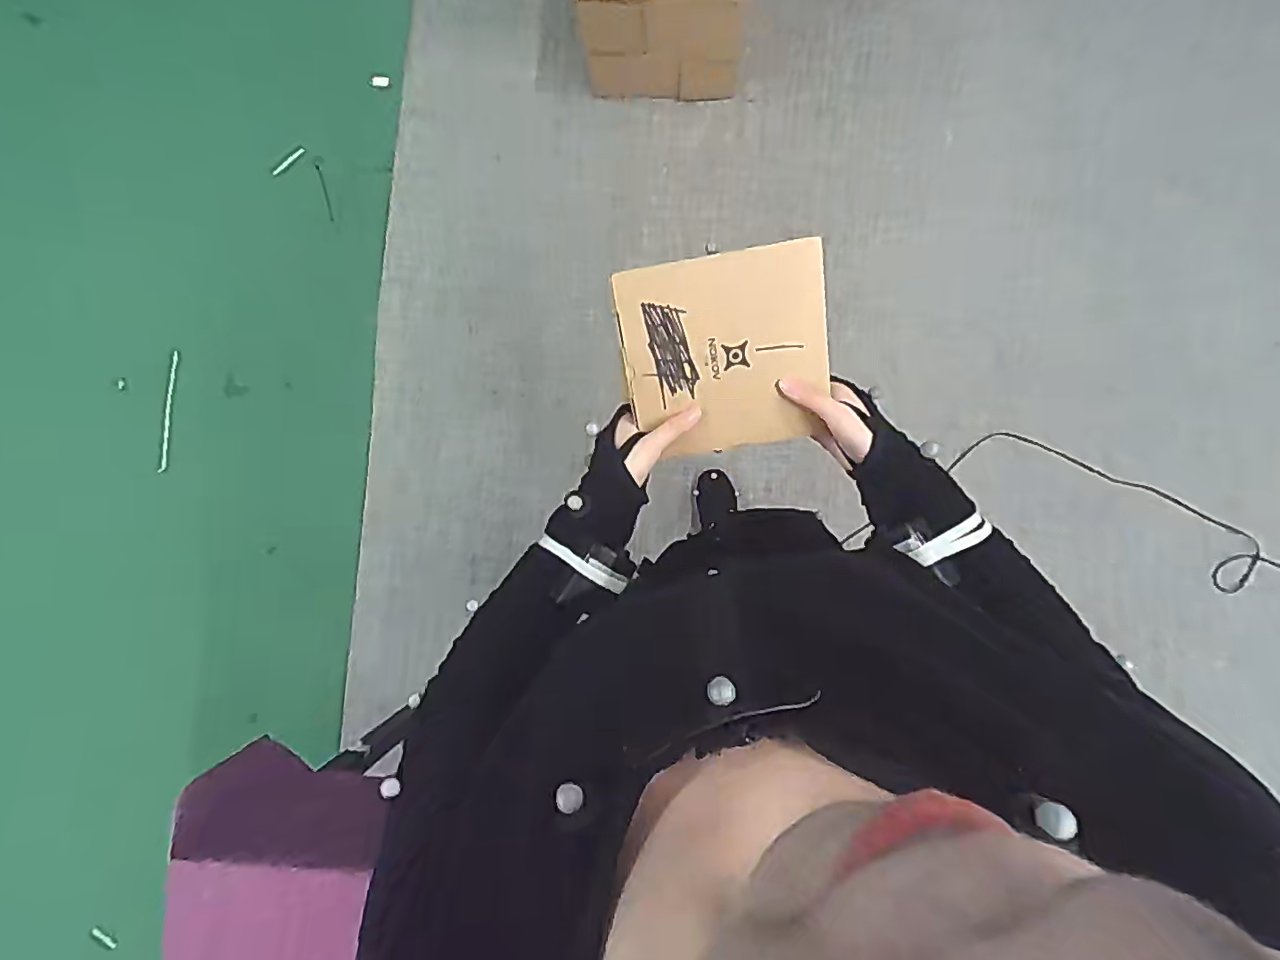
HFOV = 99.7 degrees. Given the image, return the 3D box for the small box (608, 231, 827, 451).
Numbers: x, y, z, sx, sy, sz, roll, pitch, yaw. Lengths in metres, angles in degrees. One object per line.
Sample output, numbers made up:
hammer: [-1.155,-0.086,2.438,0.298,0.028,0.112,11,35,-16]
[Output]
small box: [0.071,-0.137,0.538,0.179,0.176,0.168,-8,108,3]
